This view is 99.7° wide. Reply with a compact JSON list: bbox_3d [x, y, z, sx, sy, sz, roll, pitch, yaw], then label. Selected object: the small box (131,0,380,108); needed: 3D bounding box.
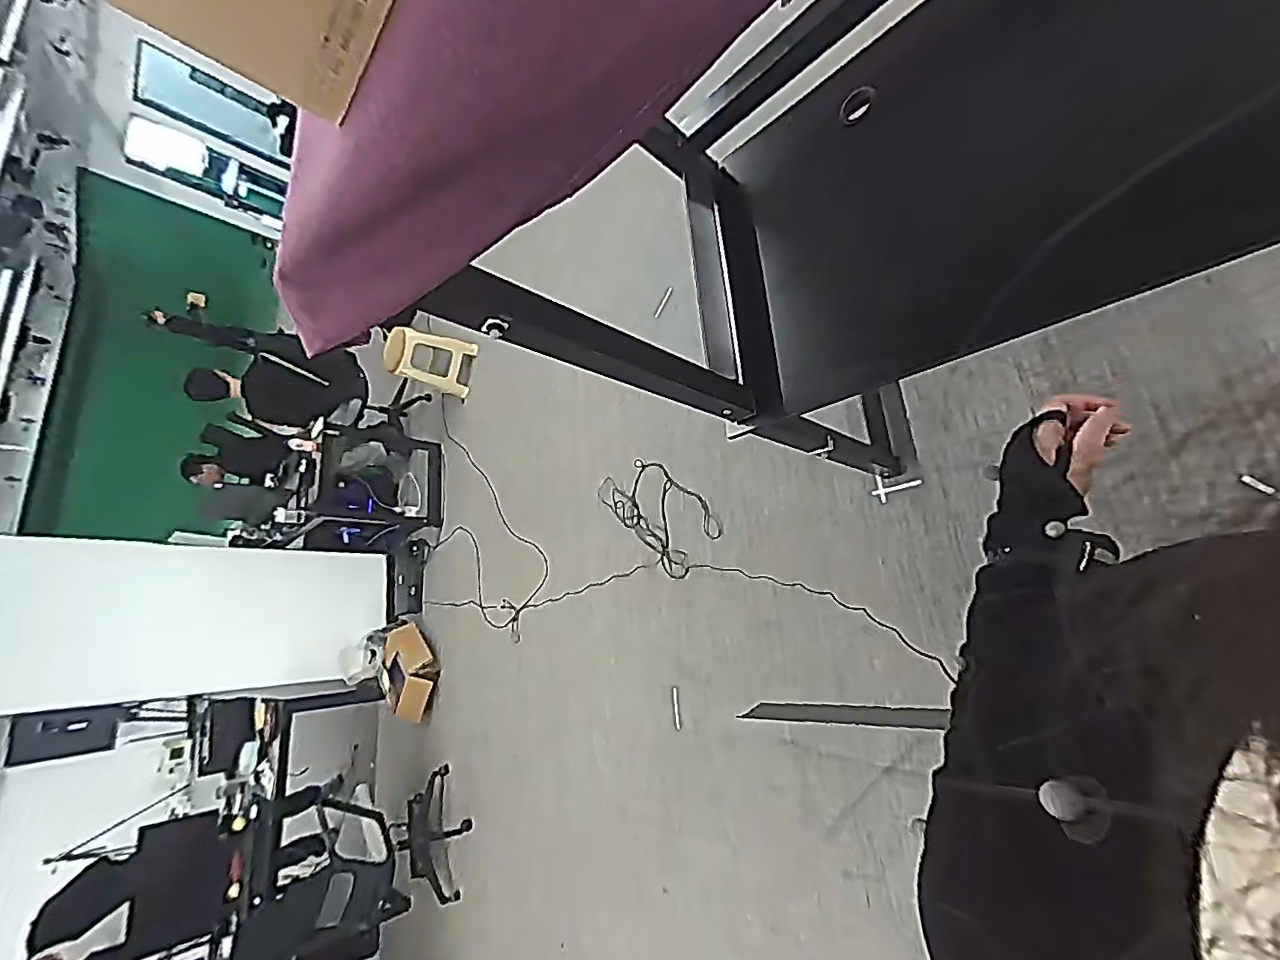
[{"bbox_3d":[-0.255,-0.391,0.339,0.168,0.176,0.179,-29,61,39],"label":"small box"}]
